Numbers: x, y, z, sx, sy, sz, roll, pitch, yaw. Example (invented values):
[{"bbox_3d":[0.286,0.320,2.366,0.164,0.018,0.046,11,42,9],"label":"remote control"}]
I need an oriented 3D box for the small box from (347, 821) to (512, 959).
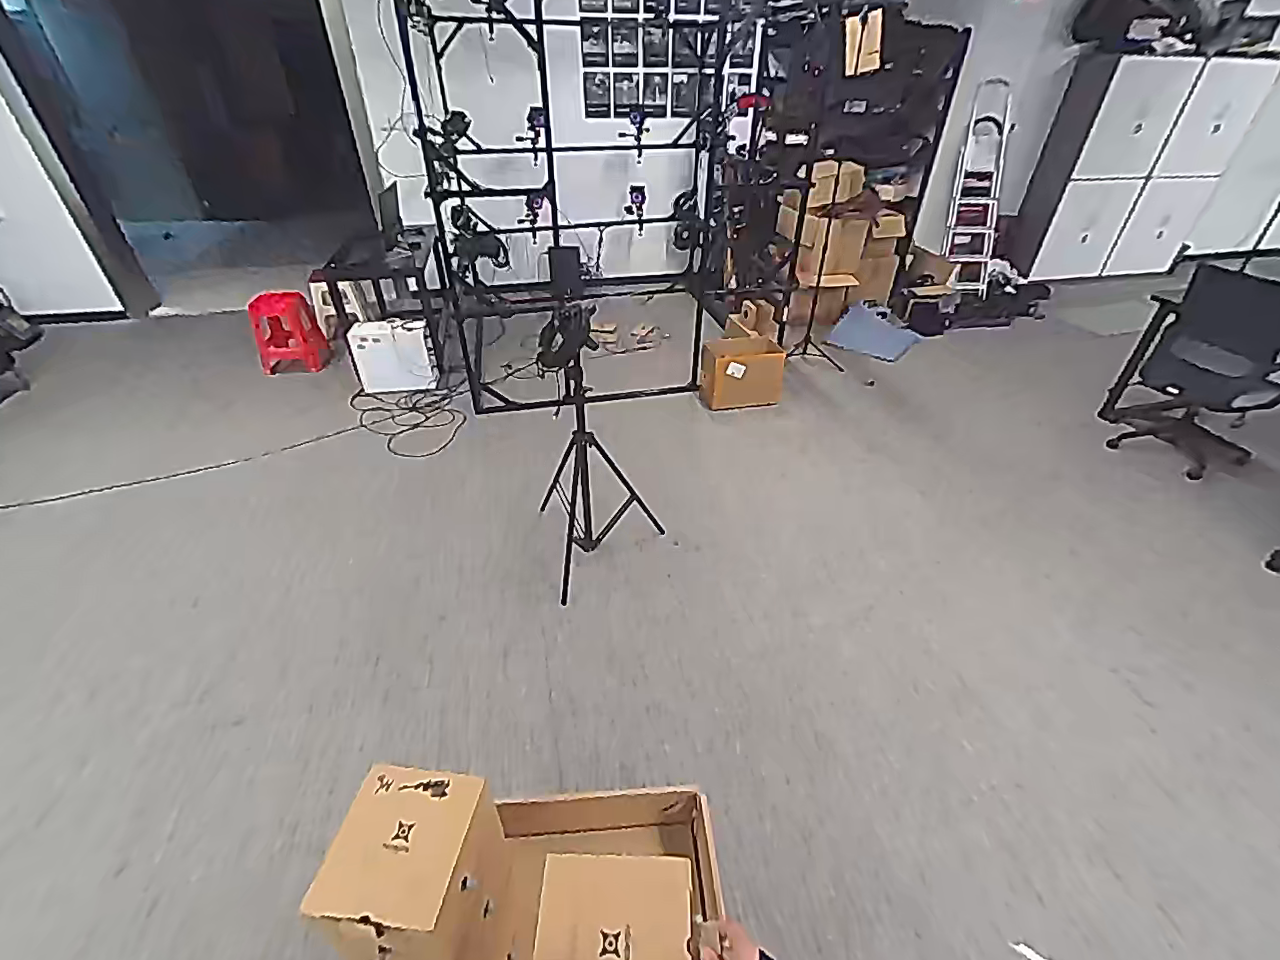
[{"bbox_3d":[-0.304,0.649,0.829,0.168,0.176,0.179,2,35,3],"label":"small box"}]

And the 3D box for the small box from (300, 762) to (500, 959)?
[{"bbox_3d":[-0.302,0.518,0.730,0.168,0.176,0.179,5,36,6],"label":"small box"}]

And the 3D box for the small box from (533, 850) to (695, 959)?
[{"bbox_3d":[-0.027,0.562,0.640,0.179,0.176,0.168,1,41,2],"label":"small box"}]
